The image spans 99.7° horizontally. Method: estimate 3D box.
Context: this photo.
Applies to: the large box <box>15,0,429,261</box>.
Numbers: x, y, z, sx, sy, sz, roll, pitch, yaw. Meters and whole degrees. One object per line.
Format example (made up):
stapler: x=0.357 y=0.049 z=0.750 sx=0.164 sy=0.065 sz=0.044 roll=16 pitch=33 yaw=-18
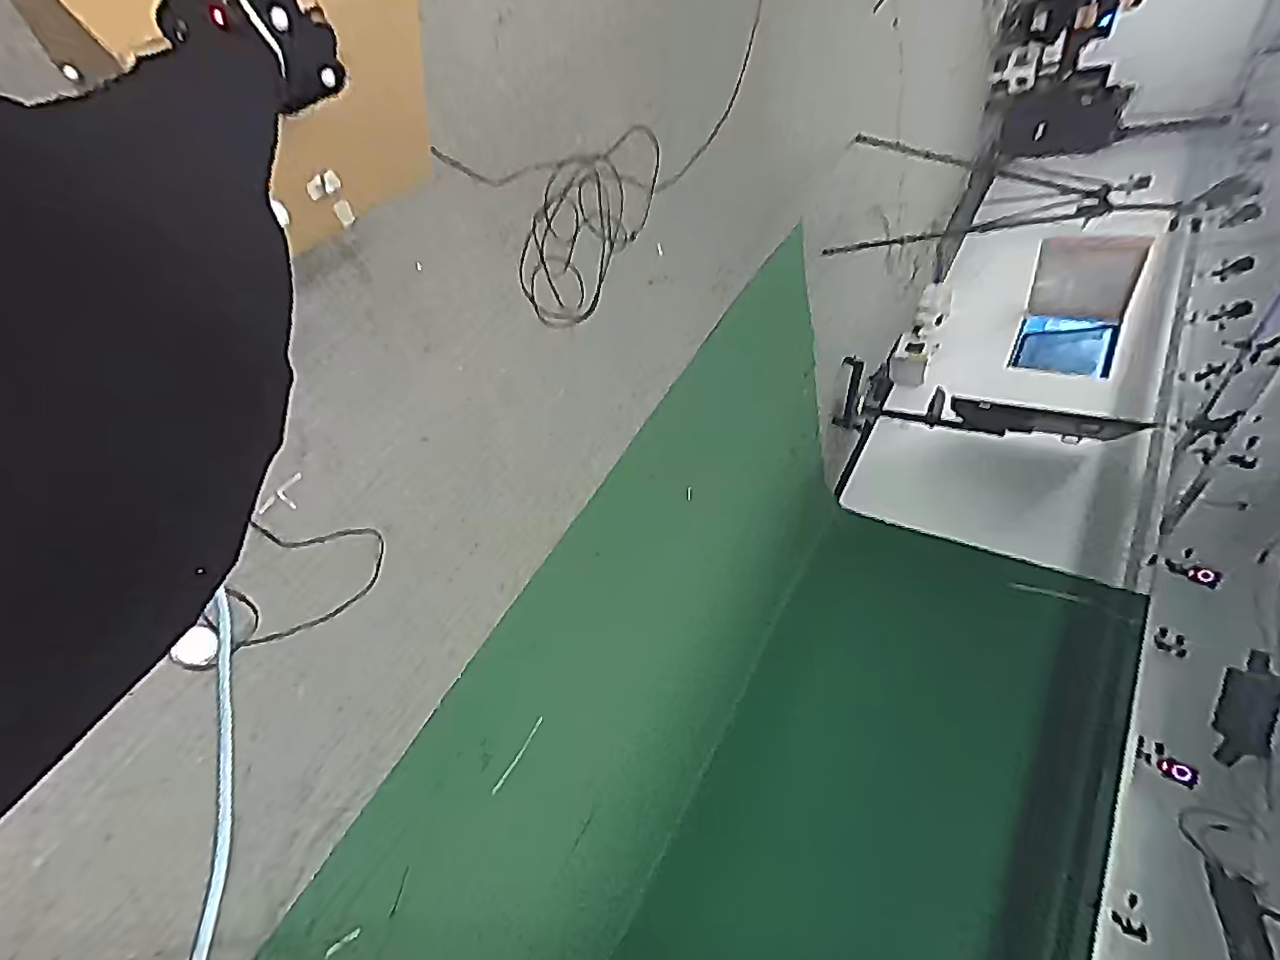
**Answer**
large box: x=-0.533 y=-0.575 z=0.676 sx=0.320 sy=0.408 sz=0.320 roll=-44 pitch=180 yaw=-23
